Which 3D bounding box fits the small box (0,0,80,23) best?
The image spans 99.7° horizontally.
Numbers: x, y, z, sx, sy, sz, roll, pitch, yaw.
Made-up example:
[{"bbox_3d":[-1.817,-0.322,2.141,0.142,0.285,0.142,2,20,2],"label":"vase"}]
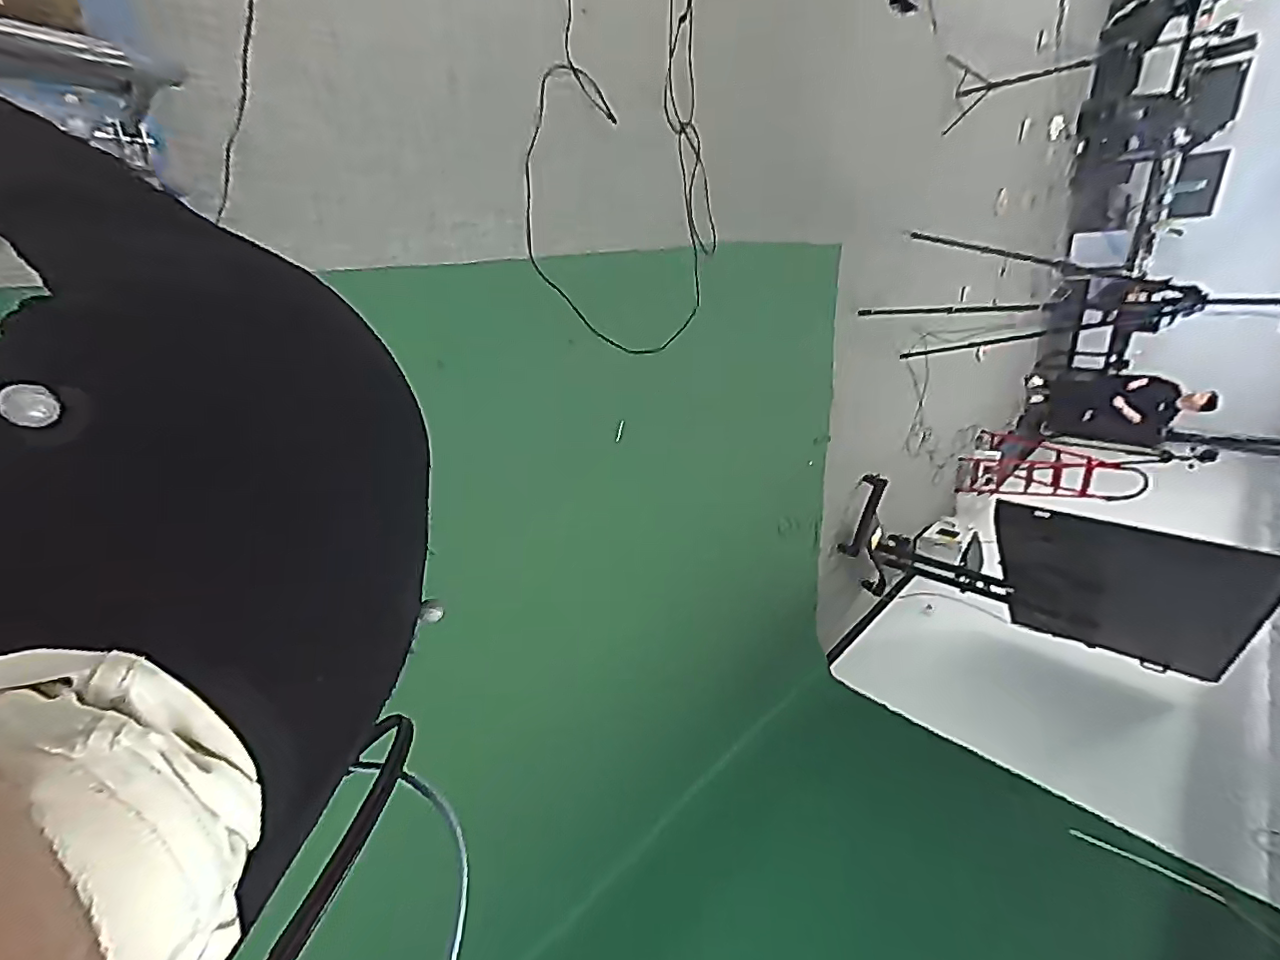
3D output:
[{"bbox_3d":[-0.952,-0.819,0.783,0.168,0.176,0.179,-16,115,-41],"label":"small box"}]
